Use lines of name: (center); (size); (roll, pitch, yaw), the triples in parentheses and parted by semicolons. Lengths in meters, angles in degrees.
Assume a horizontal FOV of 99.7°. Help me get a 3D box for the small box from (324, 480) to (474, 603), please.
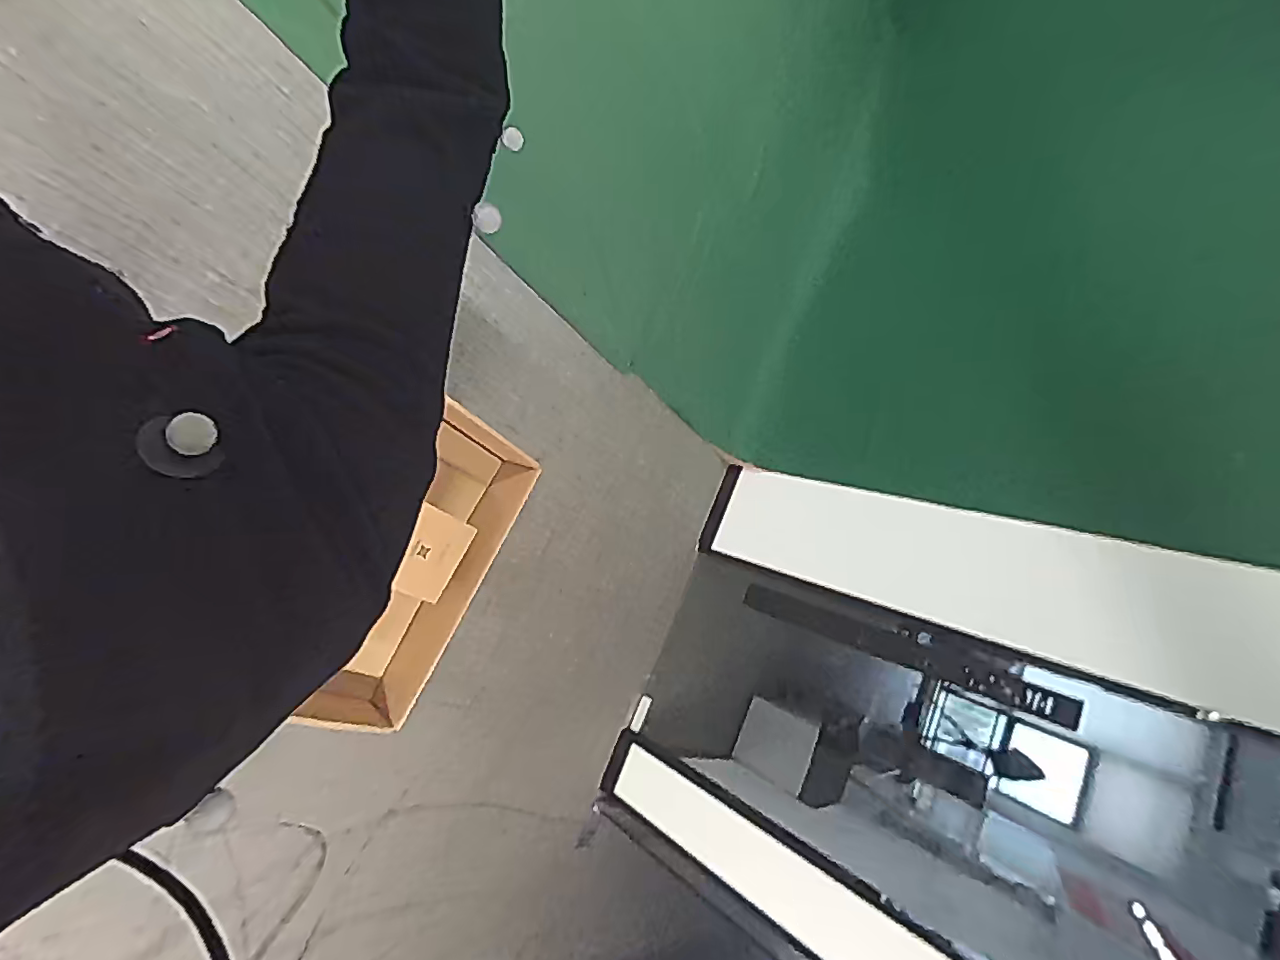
small box: (-0.469, 0.114, 1.050); (0.179, 0.176, 0.168); (41, 72, -49)
